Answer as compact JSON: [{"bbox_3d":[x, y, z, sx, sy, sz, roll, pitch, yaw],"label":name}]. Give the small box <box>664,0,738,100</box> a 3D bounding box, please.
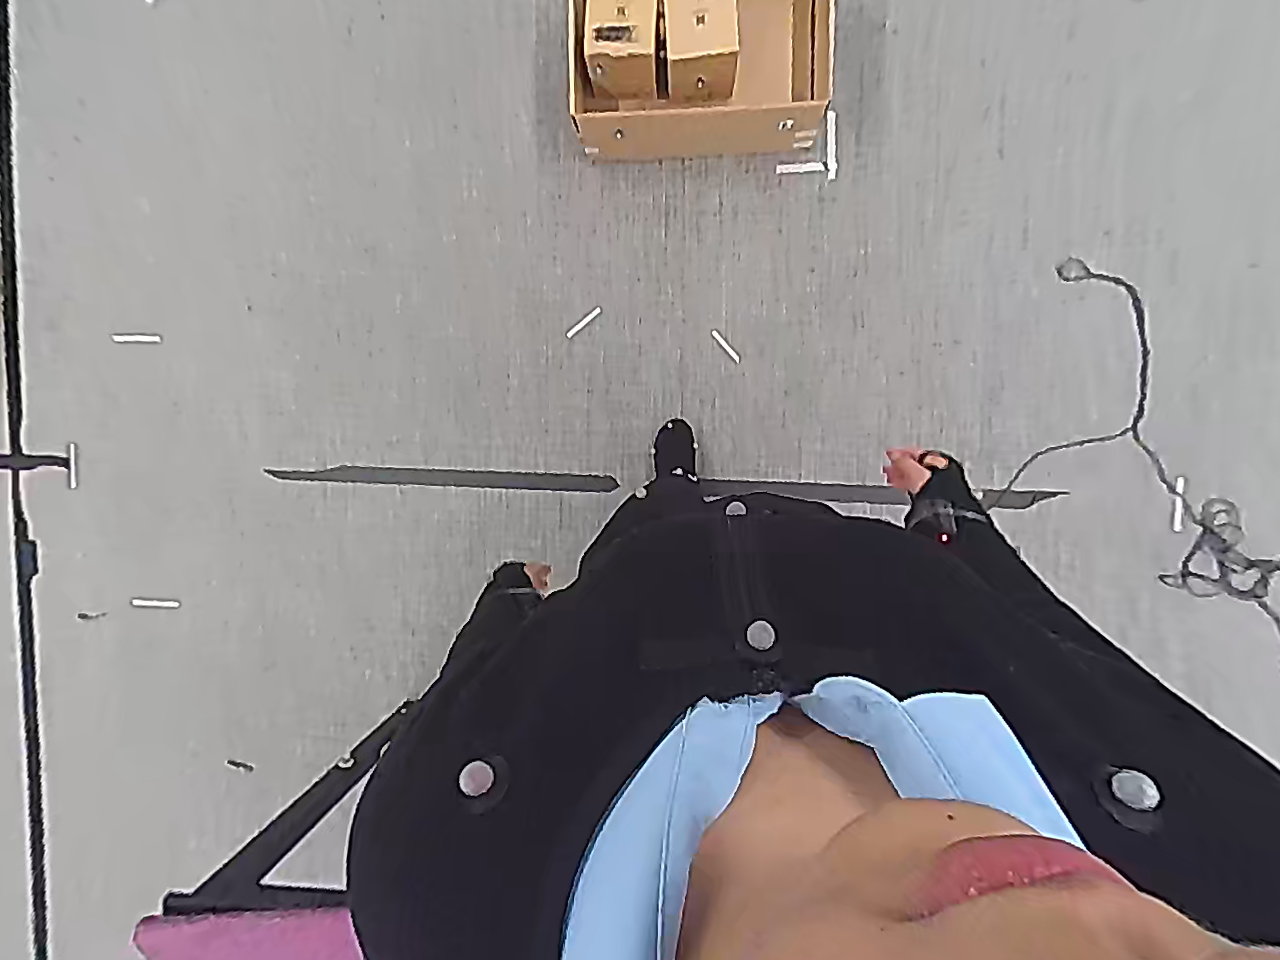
[{"bbox_3d":[0.148,-1.061,1.315,0.168,0.176,0.179,-4,92,5],"label":"small box"}]
